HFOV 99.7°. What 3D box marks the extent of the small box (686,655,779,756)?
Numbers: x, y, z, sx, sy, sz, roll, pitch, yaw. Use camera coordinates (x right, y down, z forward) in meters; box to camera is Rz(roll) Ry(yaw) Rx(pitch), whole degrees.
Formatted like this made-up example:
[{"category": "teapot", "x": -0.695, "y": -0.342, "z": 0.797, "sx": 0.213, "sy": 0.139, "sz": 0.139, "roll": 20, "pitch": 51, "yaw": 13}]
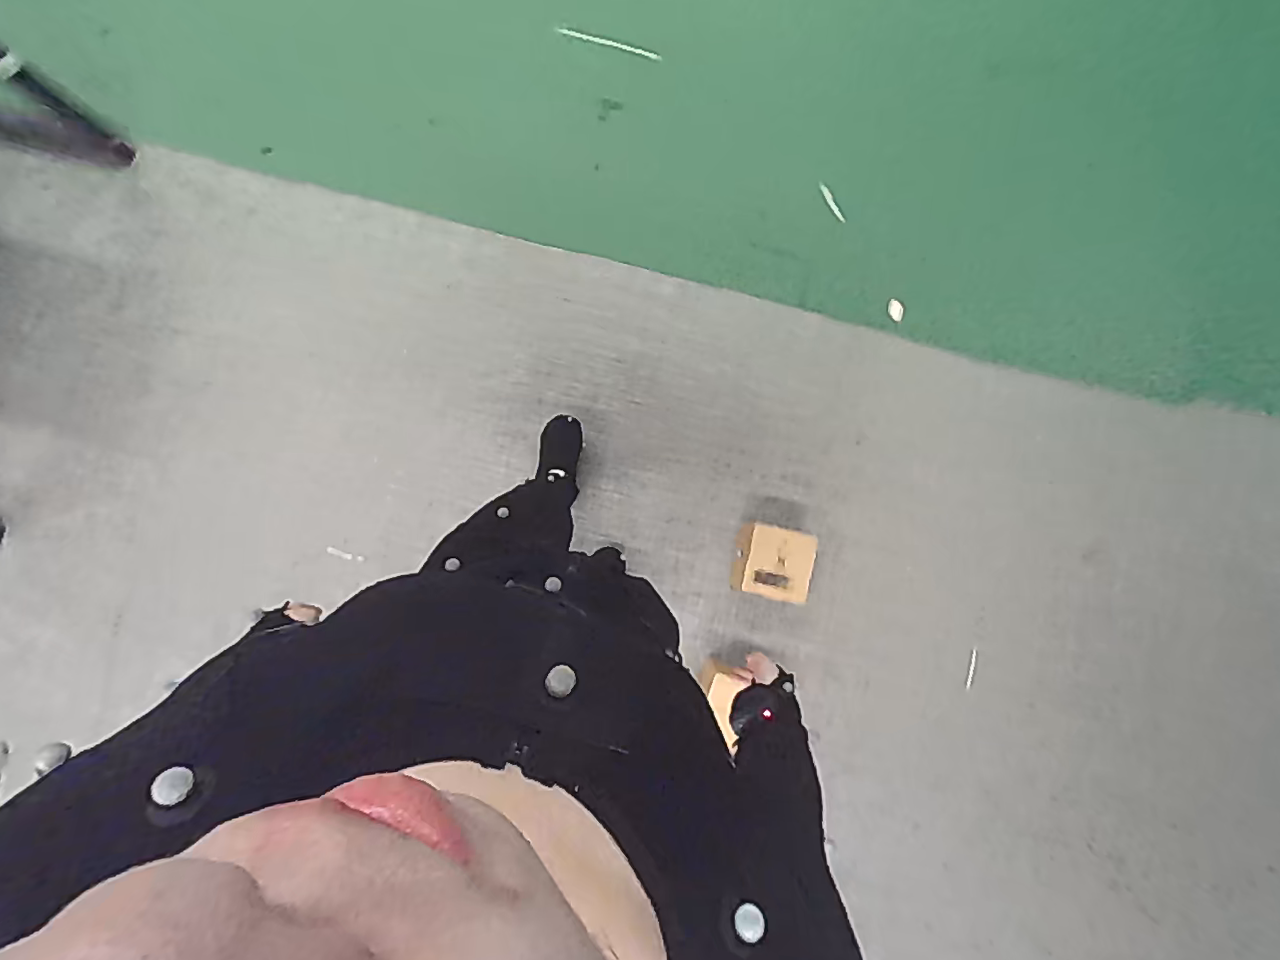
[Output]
[{"category": "small box", "x": 0.234, "y": 0.577, "z": 1.408, "sx": 0.179, "sy": 0.176, "sz": 0.168, "roll": 21, "pitch": 86, "yaw": 0}]
